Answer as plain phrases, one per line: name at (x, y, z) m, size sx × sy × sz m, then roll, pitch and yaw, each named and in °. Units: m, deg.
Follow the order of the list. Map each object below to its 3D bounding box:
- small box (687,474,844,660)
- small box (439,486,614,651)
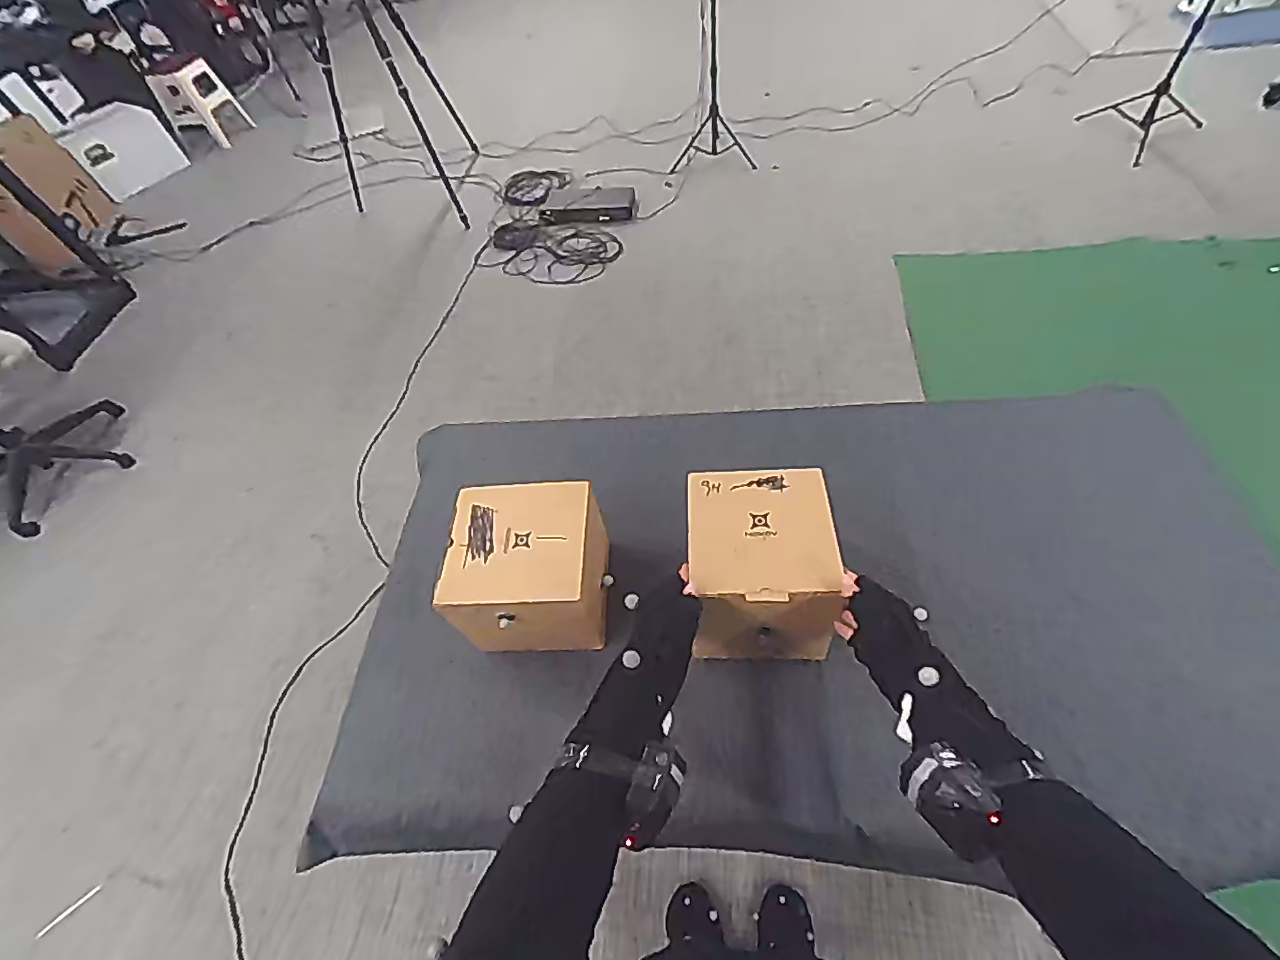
small box at (0.148, 0.114, 0.682) m, size 0.168 × 0.176 × 0.179 m, roll -2°, pitch 49°, yaw 8°
small box at (-0.138, 0.124, 0.728) m, size 0.179 × 0.176 × 0.168 m, roll -3°, pitch 55°, yaw 5°
